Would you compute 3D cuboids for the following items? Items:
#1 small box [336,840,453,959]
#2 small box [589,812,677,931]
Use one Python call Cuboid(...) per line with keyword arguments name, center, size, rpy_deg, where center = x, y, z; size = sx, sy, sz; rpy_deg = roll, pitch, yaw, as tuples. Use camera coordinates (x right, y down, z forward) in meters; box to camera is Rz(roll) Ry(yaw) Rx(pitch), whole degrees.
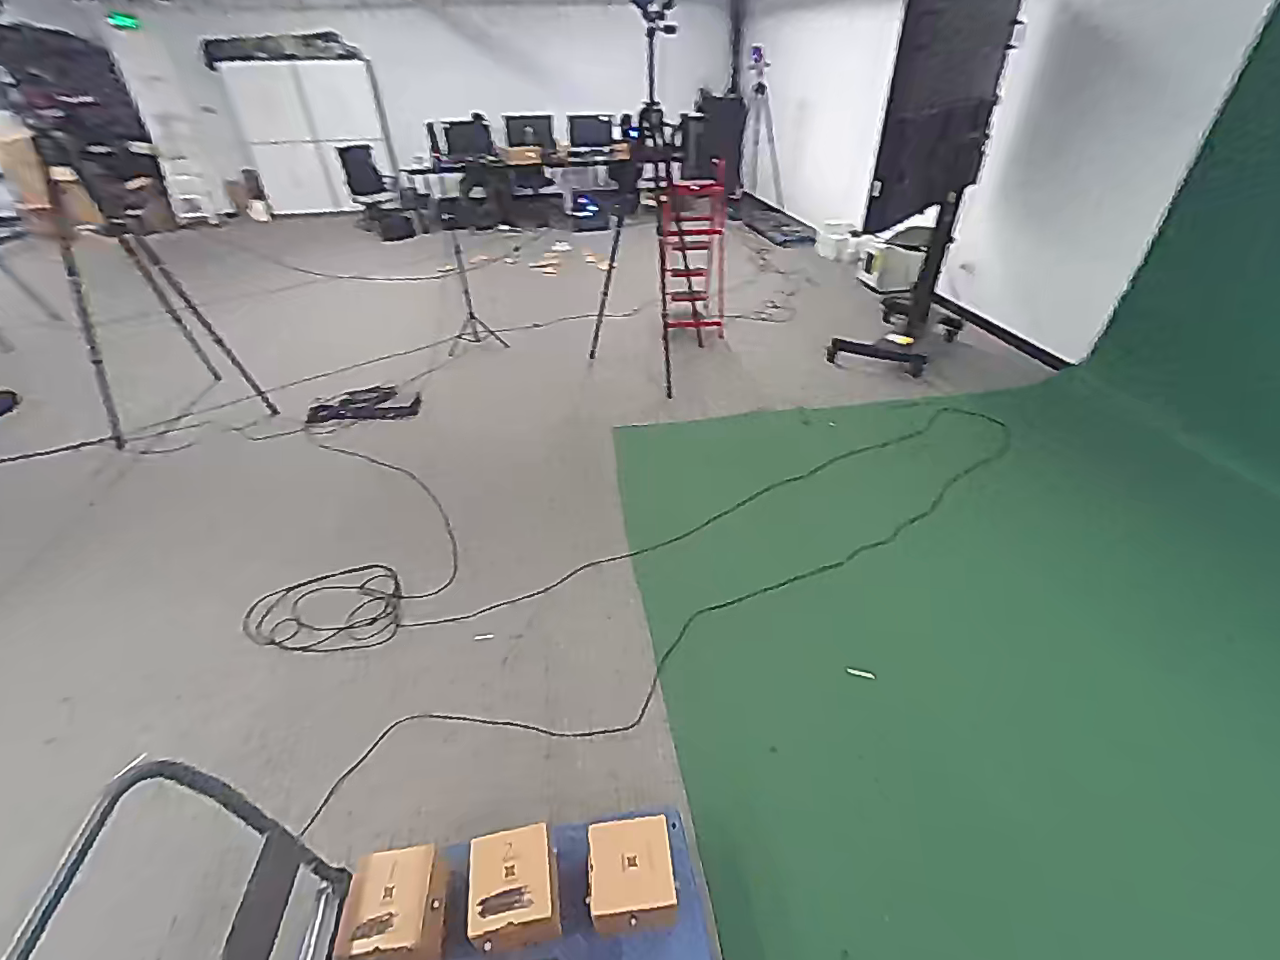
Cuboid(name="small box", center=(-0.509, 0.907, 1.152), size=(0.168, 0.176, 0.179), rpy_deg=(-5, 37, -5))
Cuboid(name="small box", center=(-0.015, 0.862, 1.190), size=(0.179, 0.176, 0.168), rpy_deg=(-5, 39, -4))
